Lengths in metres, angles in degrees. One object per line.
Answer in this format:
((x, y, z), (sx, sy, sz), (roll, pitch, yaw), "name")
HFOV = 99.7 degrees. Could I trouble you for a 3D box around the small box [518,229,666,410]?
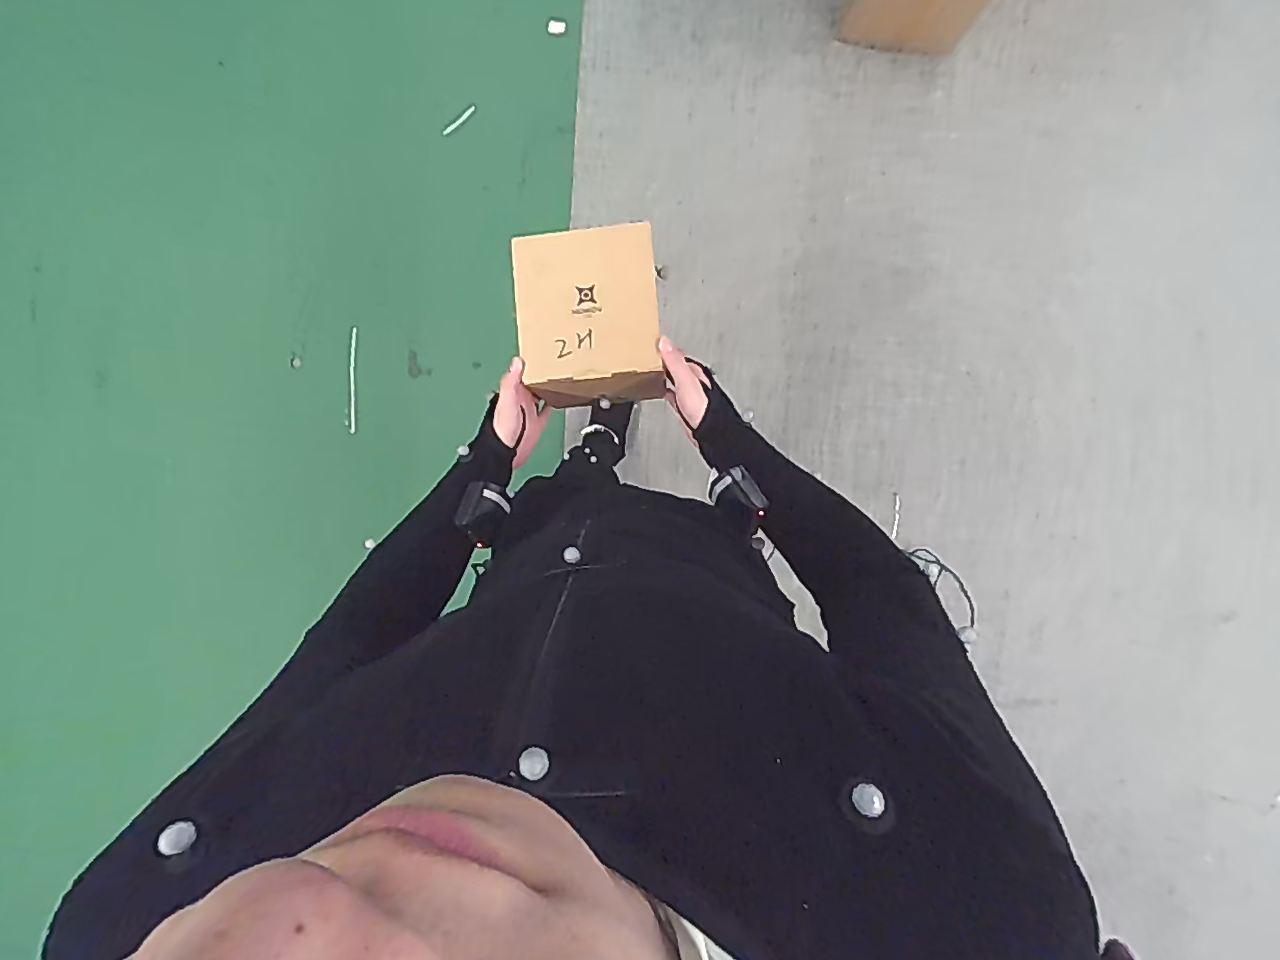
((-0.054, -0.196, 0.704), (0.168, 0.176, 0.179), (-4, 88, 4), "small box")
